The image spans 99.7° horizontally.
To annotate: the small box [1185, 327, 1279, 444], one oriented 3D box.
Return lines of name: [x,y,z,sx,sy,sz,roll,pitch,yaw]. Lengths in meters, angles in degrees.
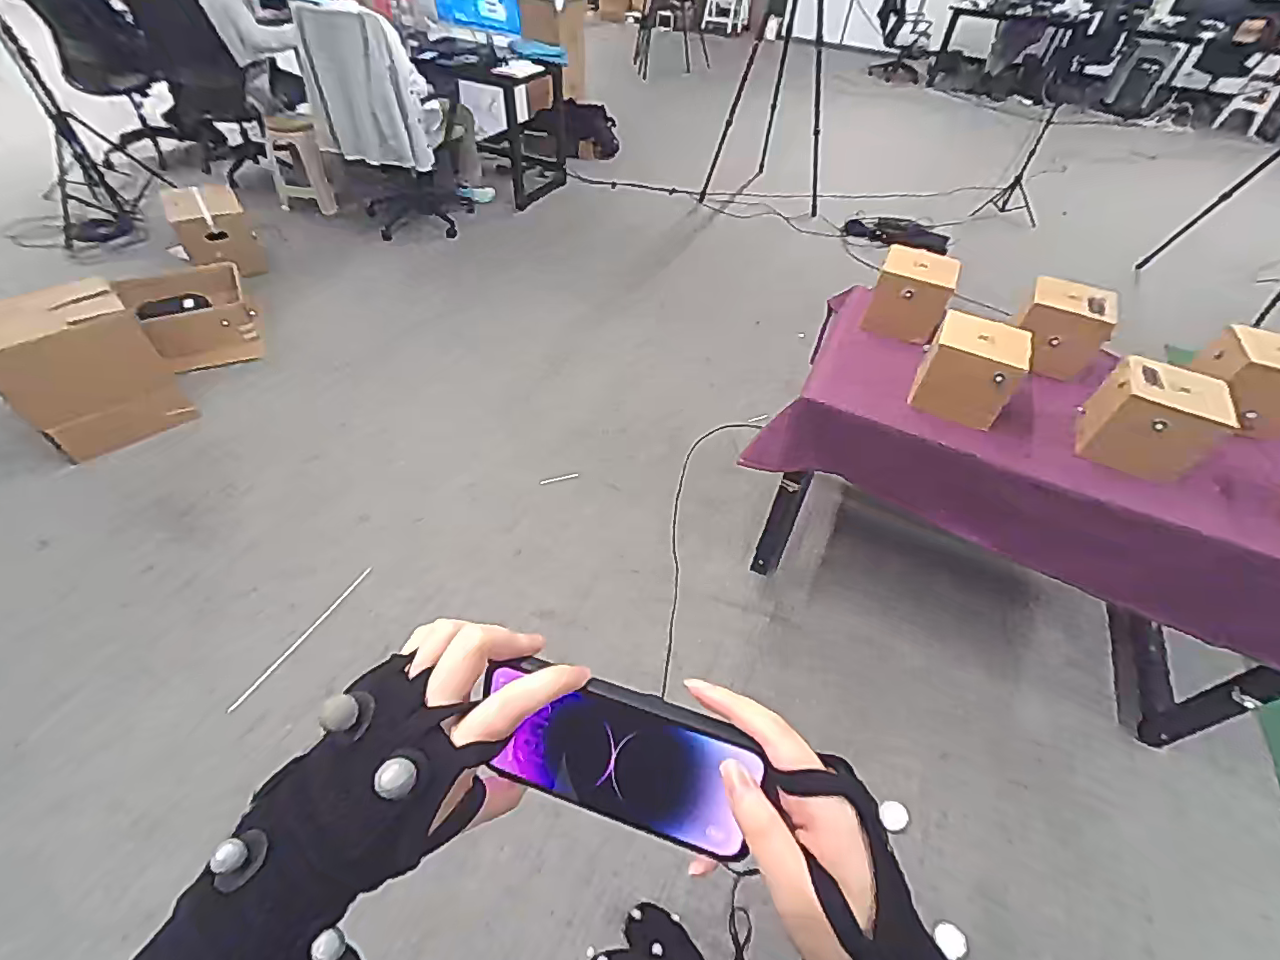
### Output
small box: [1.382,-0.214,1.228,0.168,0.176,0.179,20,50,15]

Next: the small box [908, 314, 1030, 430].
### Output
small box: [0.728,-0.237,1.206,0.179,0.176,0.168,24,50,16]

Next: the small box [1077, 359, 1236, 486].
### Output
small box: [1.047,-0.116,1.117,0.179,0.176,0.168,26,51,17]
